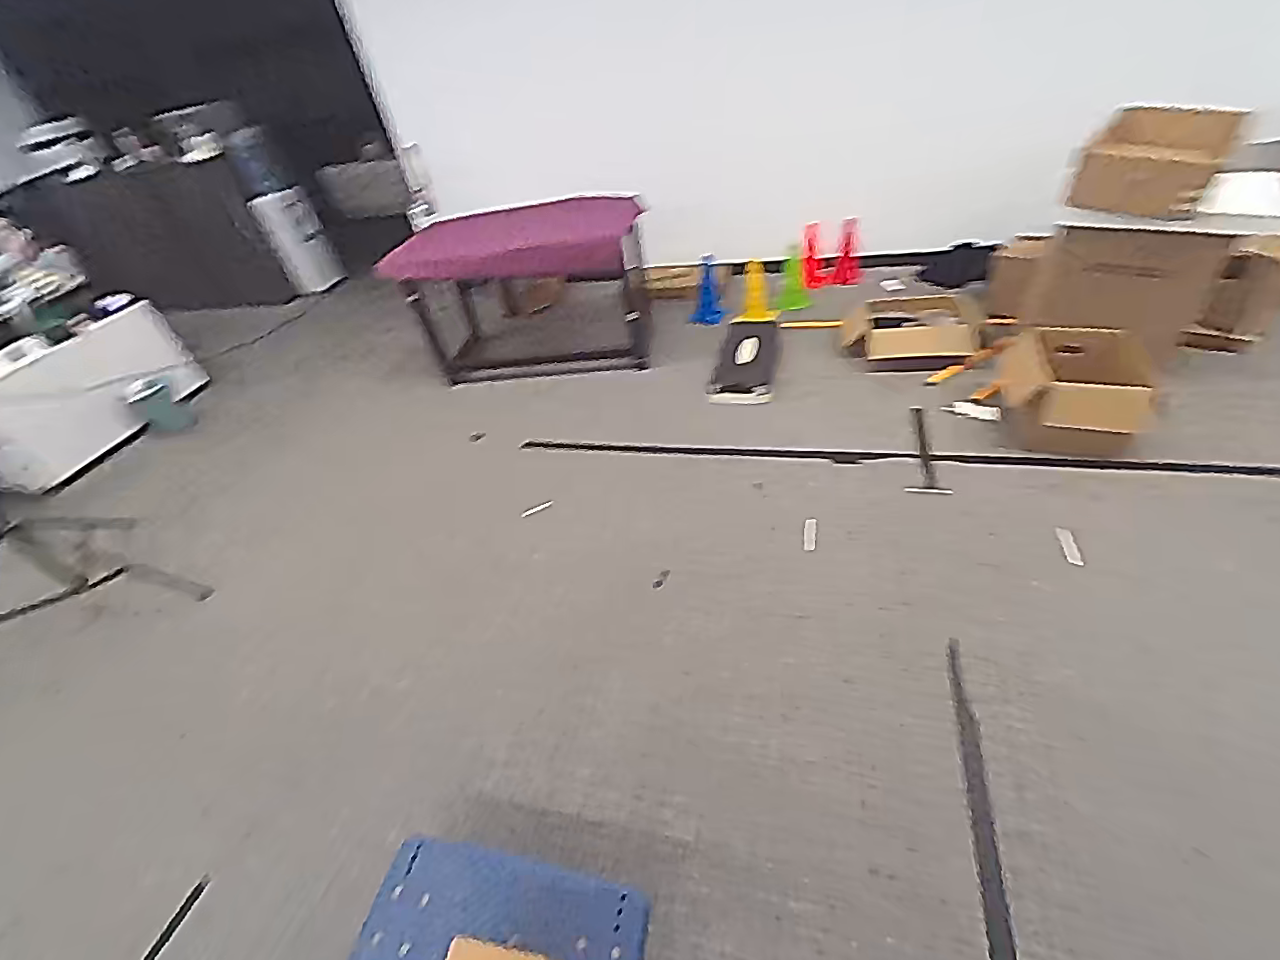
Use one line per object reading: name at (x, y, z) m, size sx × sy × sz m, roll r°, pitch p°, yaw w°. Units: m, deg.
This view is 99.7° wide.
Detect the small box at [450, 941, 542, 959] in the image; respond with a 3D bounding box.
small box at (-0.238, 0.915, 0.913) m, size 0.179 × 0.176 × 0.168 m, roll 0°, pitch 42°, yaw 13°
